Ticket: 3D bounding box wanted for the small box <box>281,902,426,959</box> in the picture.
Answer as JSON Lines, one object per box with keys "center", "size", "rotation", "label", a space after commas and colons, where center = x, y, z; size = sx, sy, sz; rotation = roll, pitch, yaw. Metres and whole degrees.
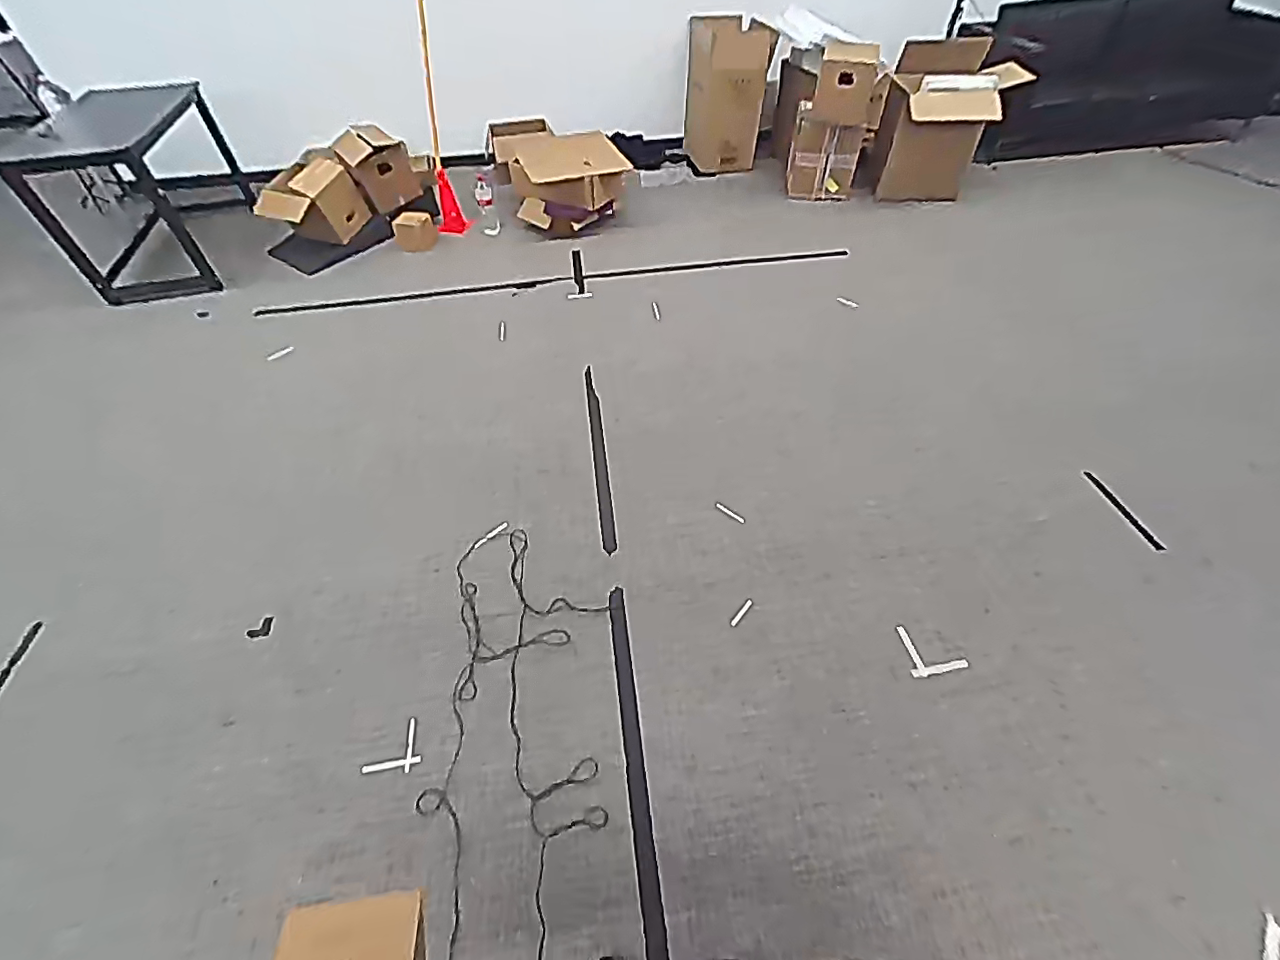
{"center": [-0.361, 0.686, 0.672], "size": [0.168, 0.176, 0.179], "rotation": [1, 18, -16], "label": "small box"}
